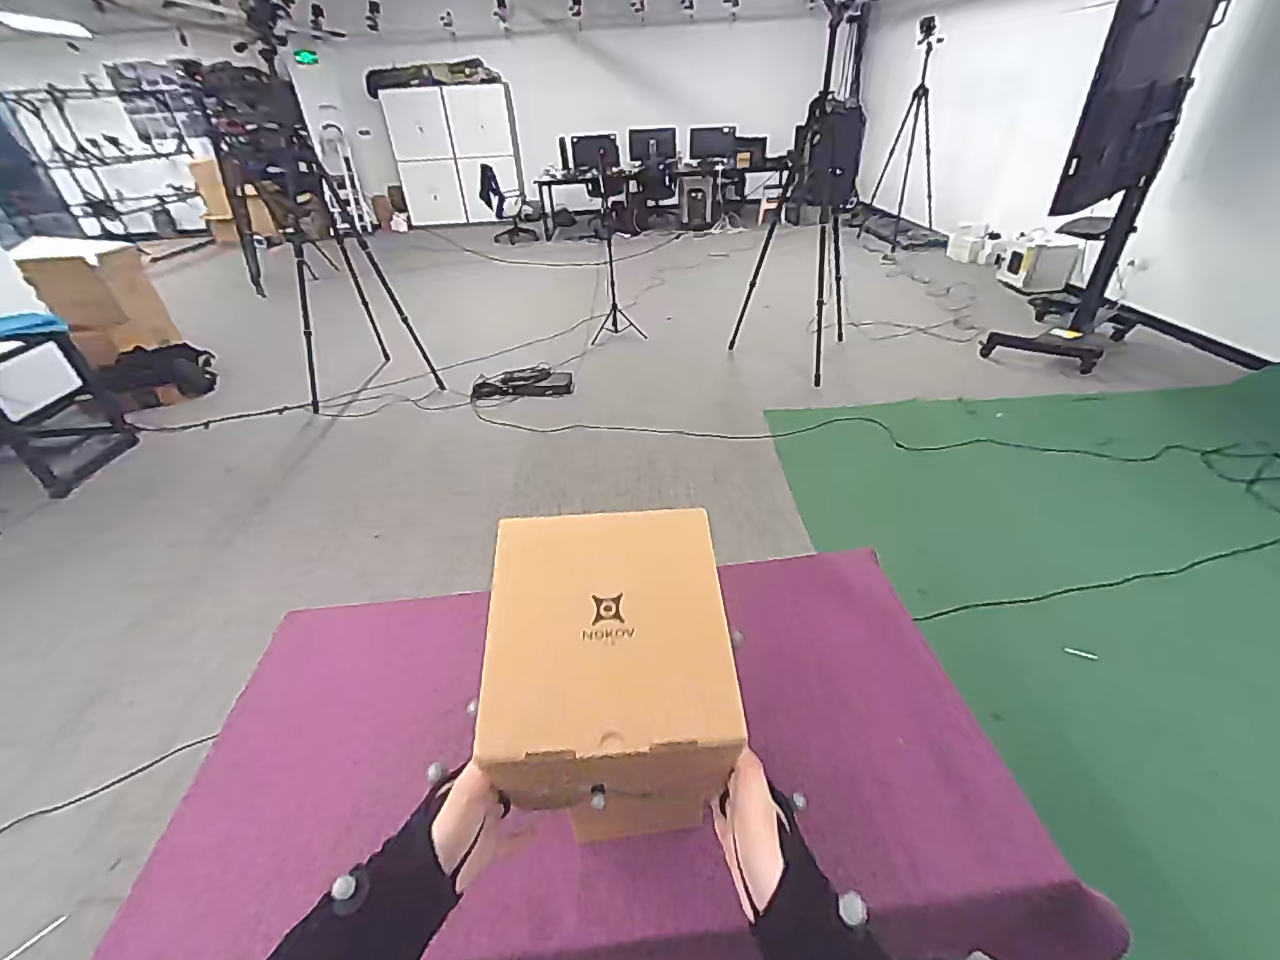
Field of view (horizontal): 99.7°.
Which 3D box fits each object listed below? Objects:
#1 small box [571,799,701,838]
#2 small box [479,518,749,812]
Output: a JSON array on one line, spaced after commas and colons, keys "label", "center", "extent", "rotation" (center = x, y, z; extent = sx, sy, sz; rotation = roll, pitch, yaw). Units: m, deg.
[{"label": "small box", "center": [-0.010, 0.370, 0.757], "extent": [0.179, 0.176, 0.168], "rotation": [-6, 34, -2]}, {"label": "small box", "center": [-0.022, 0.151, 0.437], "extent": [0.168, 0.176, 0.179], "rotation": [-3, 52, -3]}]
